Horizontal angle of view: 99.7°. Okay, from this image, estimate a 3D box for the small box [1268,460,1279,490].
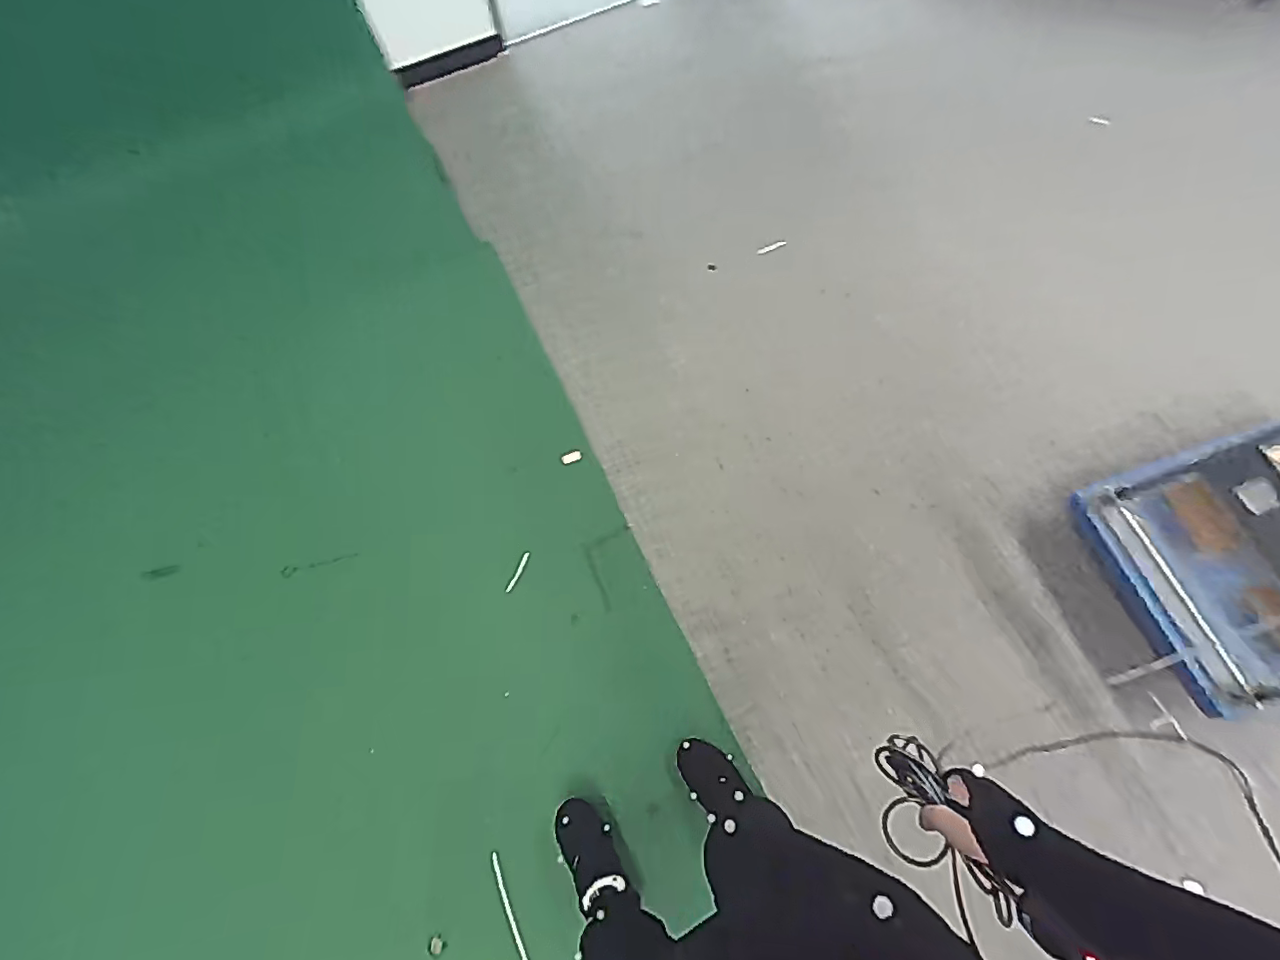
[{"bbox_3d":[1.682,-0.013,1.283,0.179,0.176,0.168,-21,71,-5],"label":"small box"}]

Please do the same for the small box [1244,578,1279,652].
[{"bbox_3d":[1.522,0.285,1.183,0.179,0.176,0.168,-17,70,-3],"label":"small box"}]
